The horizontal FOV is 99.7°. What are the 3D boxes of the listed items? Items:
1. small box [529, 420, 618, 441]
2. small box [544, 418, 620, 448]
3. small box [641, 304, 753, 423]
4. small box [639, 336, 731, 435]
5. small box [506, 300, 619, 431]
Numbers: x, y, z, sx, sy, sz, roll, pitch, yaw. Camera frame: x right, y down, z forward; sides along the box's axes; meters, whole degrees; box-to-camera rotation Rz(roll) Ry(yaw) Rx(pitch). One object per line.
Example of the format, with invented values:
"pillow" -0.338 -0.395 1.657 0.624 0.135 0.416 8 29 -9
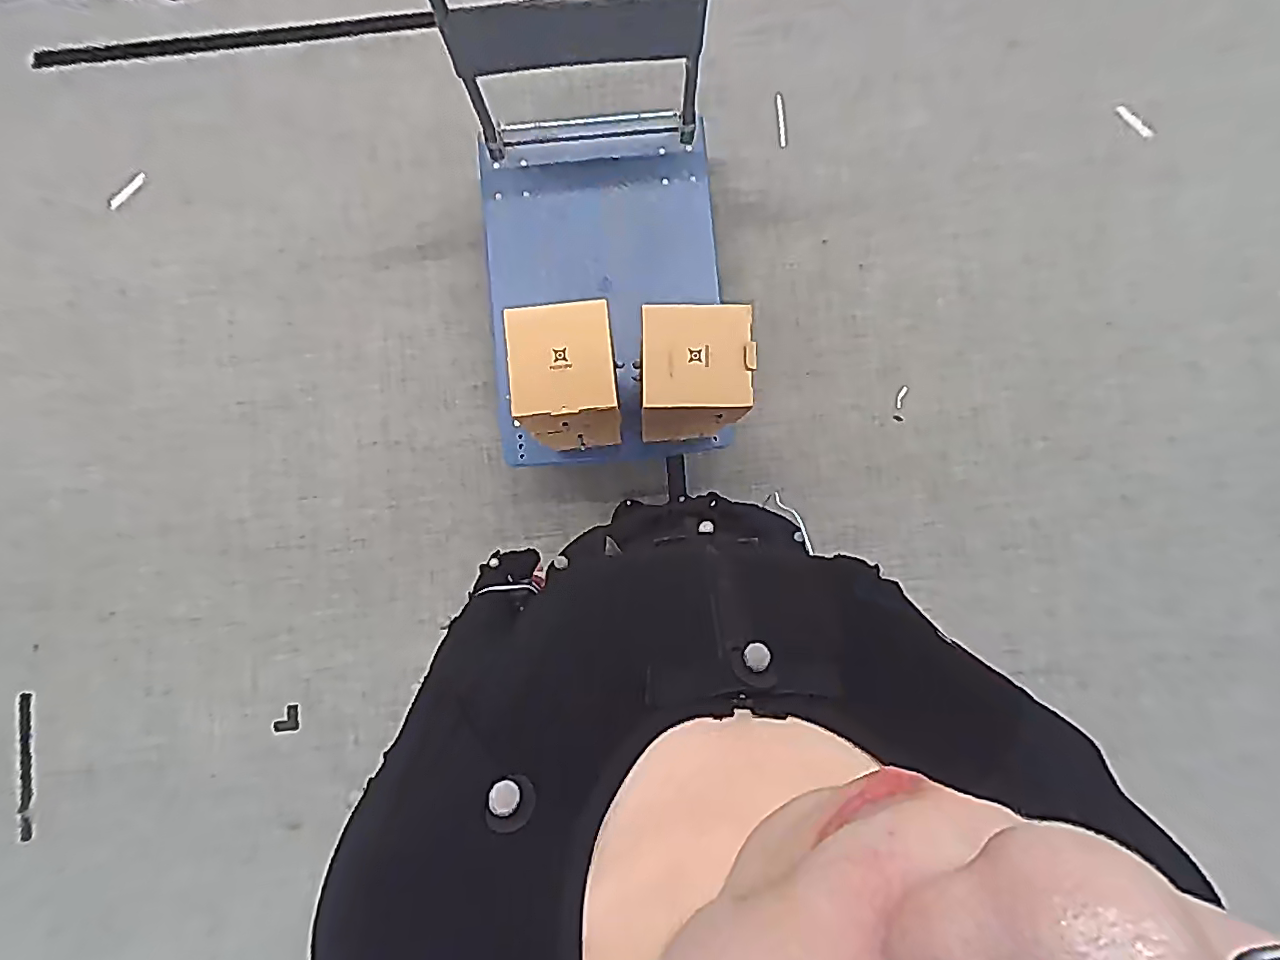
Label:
"small box" -0.136 -0.176 1.091 0.168 0.176 0.179 -8 89 -1
"small box" -0.136 -0.171 1.256 0.168 0.176 0.179 -7 87 -1
"small box" 0.090 -0.193 0.931 0.179 0.176 0.168 0 87 0
"small box" 0.084 -0.190 1.094 0.168 0.176 0.179 -3 88 0
"small box" -0.126 -0.188 0.928 0.168 0.176 0.179 -6 88 -1
